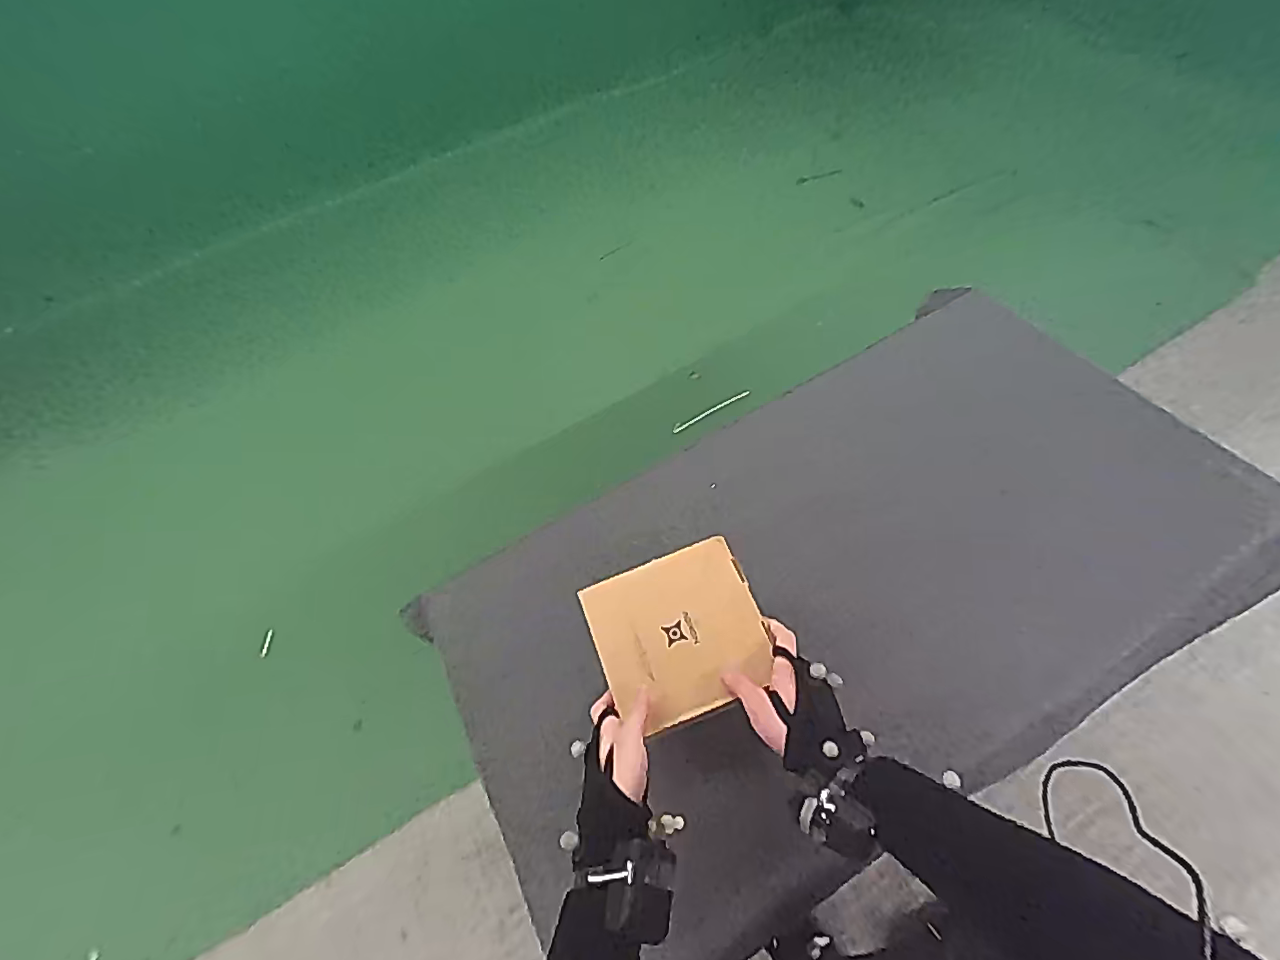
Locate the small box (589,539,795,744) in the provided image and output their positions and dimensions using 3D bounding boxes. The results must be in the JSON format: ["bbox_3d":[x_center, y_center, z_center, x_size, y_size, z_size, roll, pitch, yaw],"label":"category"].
[{"bbox_3d":[0.056,0.193,0.629,0.179,0.176,0.168,-19,63,-2],"label":"small box"}]
